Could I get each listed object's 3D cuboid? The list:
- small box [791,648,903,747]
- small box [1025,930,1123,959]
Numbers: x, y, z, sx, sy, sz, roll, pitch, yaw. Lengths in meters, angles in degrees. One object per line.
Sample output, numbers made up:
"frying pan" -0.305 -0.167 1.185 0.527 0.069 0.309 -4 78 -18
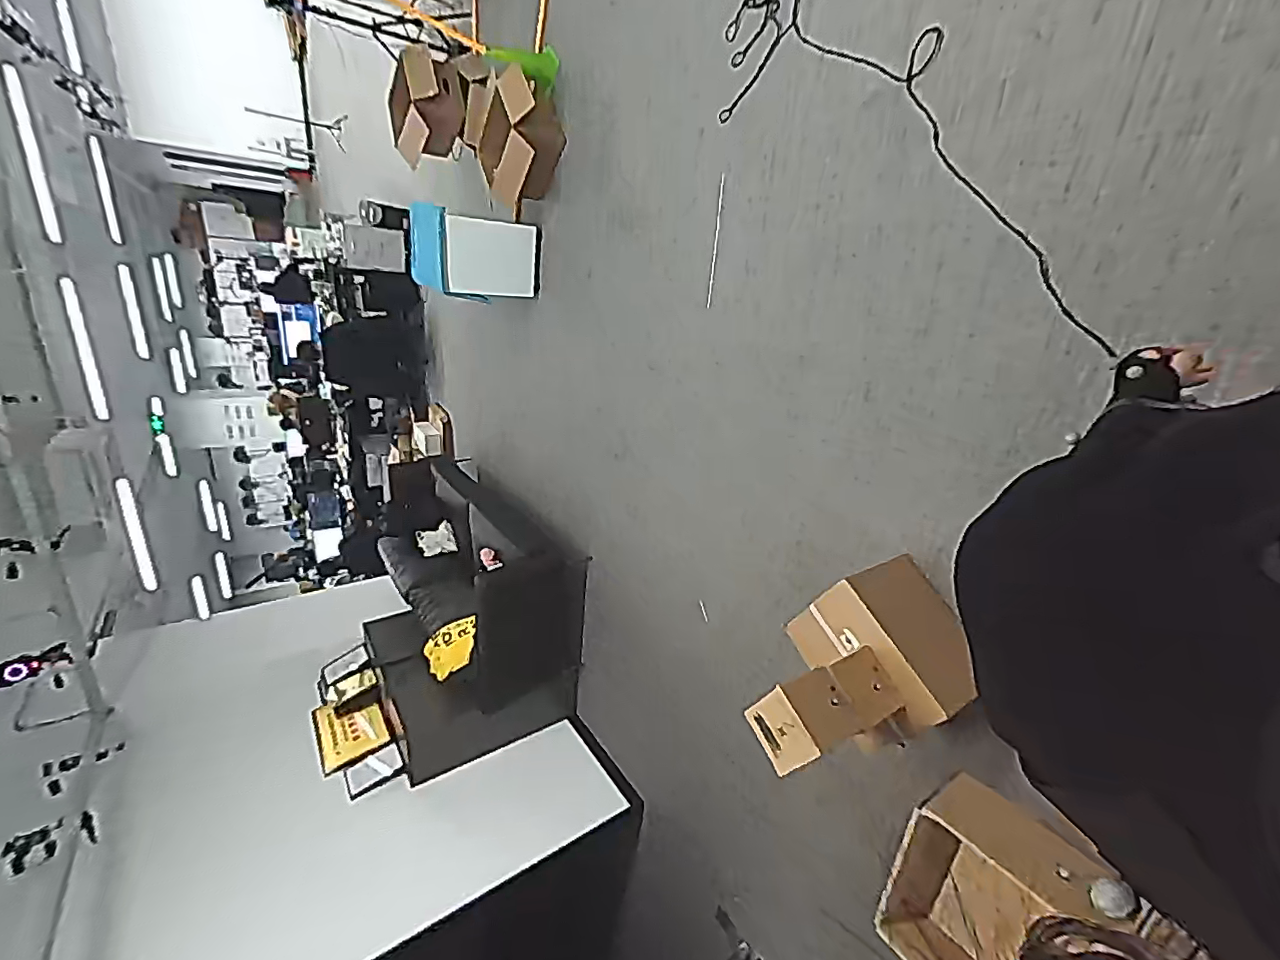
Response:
"small box" 0.538 0.563 1.406 0.168 0.176 0.179 63 142 25
"small box" 0.790 0.947 0.943 0.179 0.176 0.168 -19 81 54
